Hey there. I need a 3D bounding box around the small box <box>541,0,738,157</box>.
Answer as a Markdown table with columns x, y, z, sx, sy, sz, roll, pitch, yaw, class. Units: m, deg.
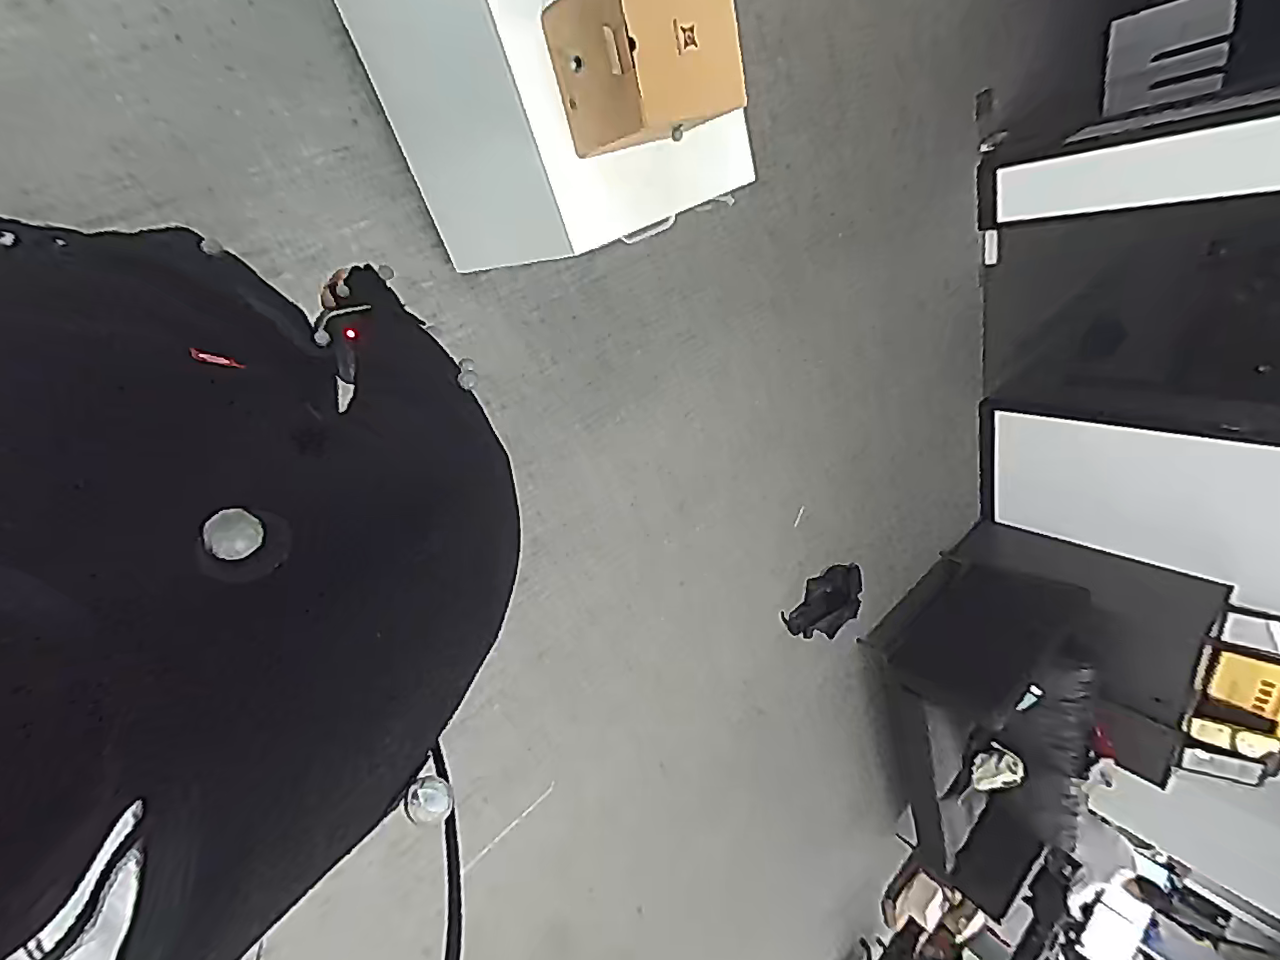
| x | y | z | sx | sy | sz | roll | pitch | yaw | class |
| --- | --- | --- | --- | --- | --- | --- | --- | --- | --- |
| 0.000 | -0.546 | 0.712 | 0.179 | 0.176 | 0.168 | -31 | 121 | -26 | small box |
